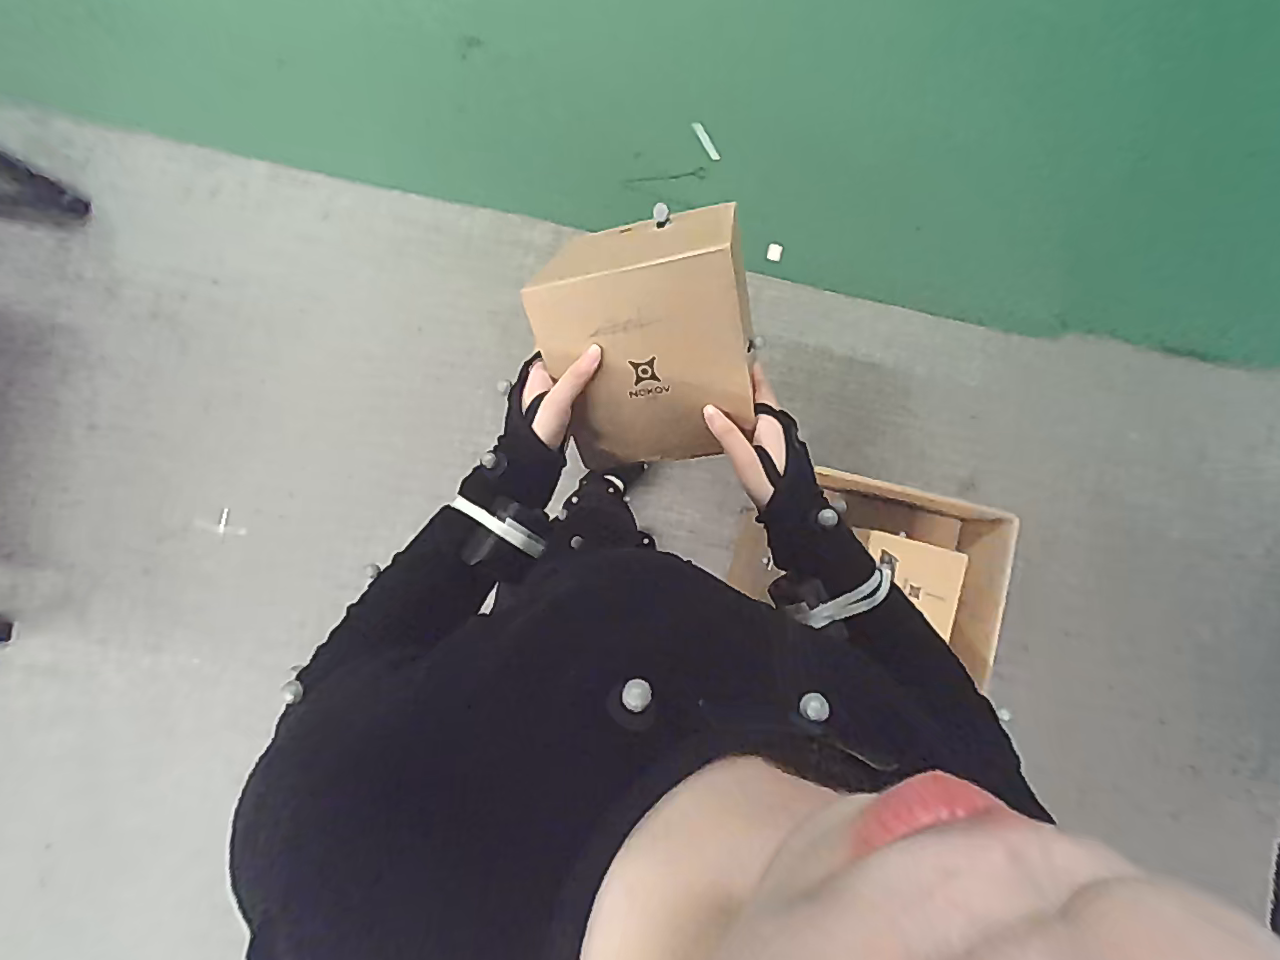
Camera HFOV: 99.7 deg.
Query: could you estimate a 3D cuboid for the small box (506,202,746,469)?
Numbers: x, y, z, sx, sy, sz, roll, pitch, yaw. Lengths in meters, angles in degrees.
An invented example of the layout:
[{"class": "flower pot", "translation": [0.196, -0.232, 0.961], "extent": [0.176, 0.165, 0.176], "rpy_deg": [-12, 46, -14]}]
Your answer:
[{"class": "small box", "translation": [0.007, -0.134, 0.505], "extent": [0.168, 0.176, 0.179], "rpy_deg": [-6, 126, 16]}]
